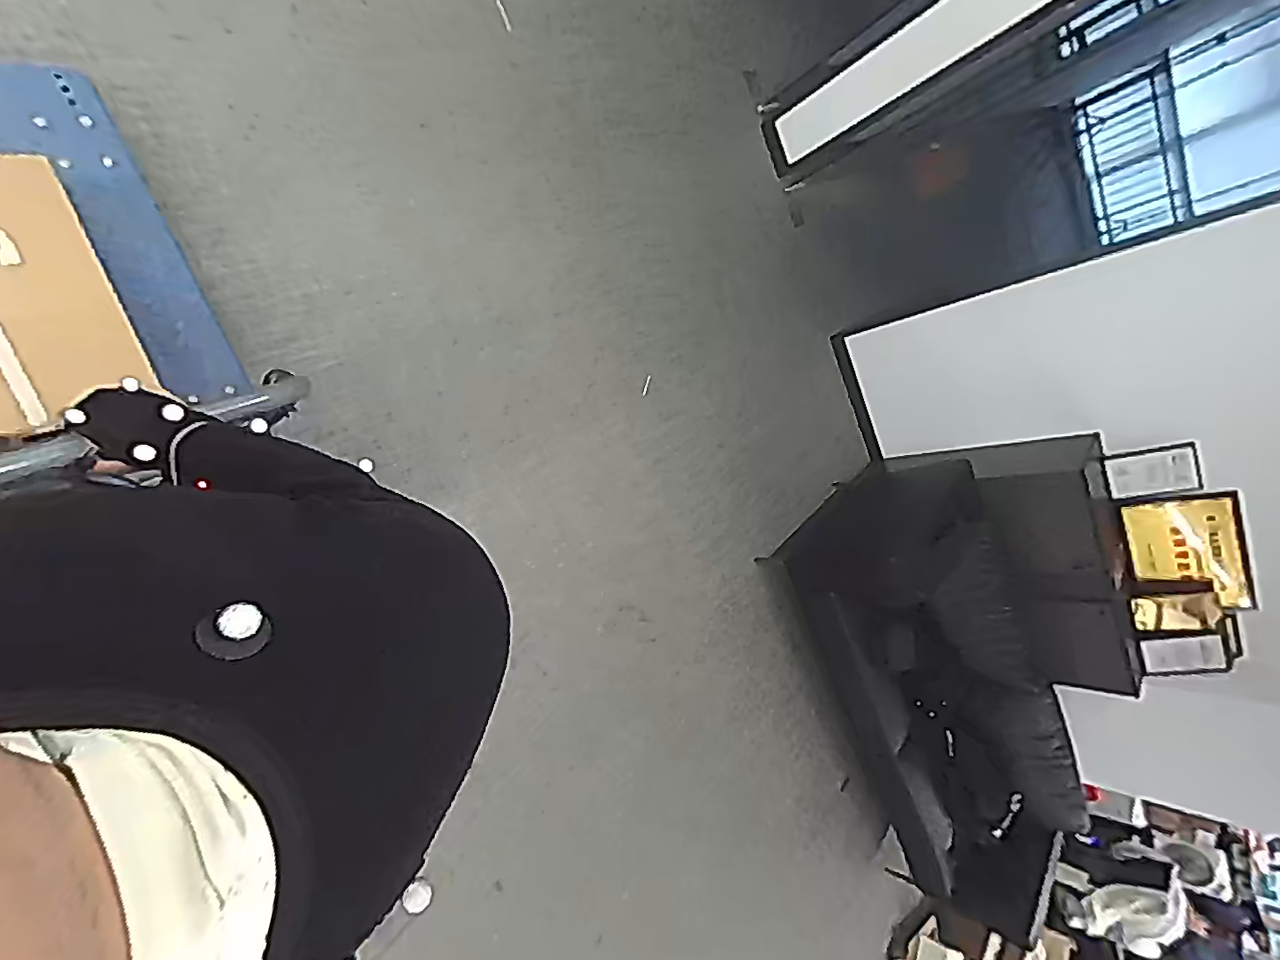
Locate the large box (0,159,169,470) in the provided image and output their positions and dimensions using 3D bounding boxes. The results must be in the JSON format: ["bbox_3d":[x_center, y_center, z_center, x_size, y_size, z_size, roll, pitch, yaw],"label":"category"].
[{"bbox_3d":[-1.079,-0.252,0.908,0.320,0.320,0.408,-27,102,-39],"label":"large box"}]
